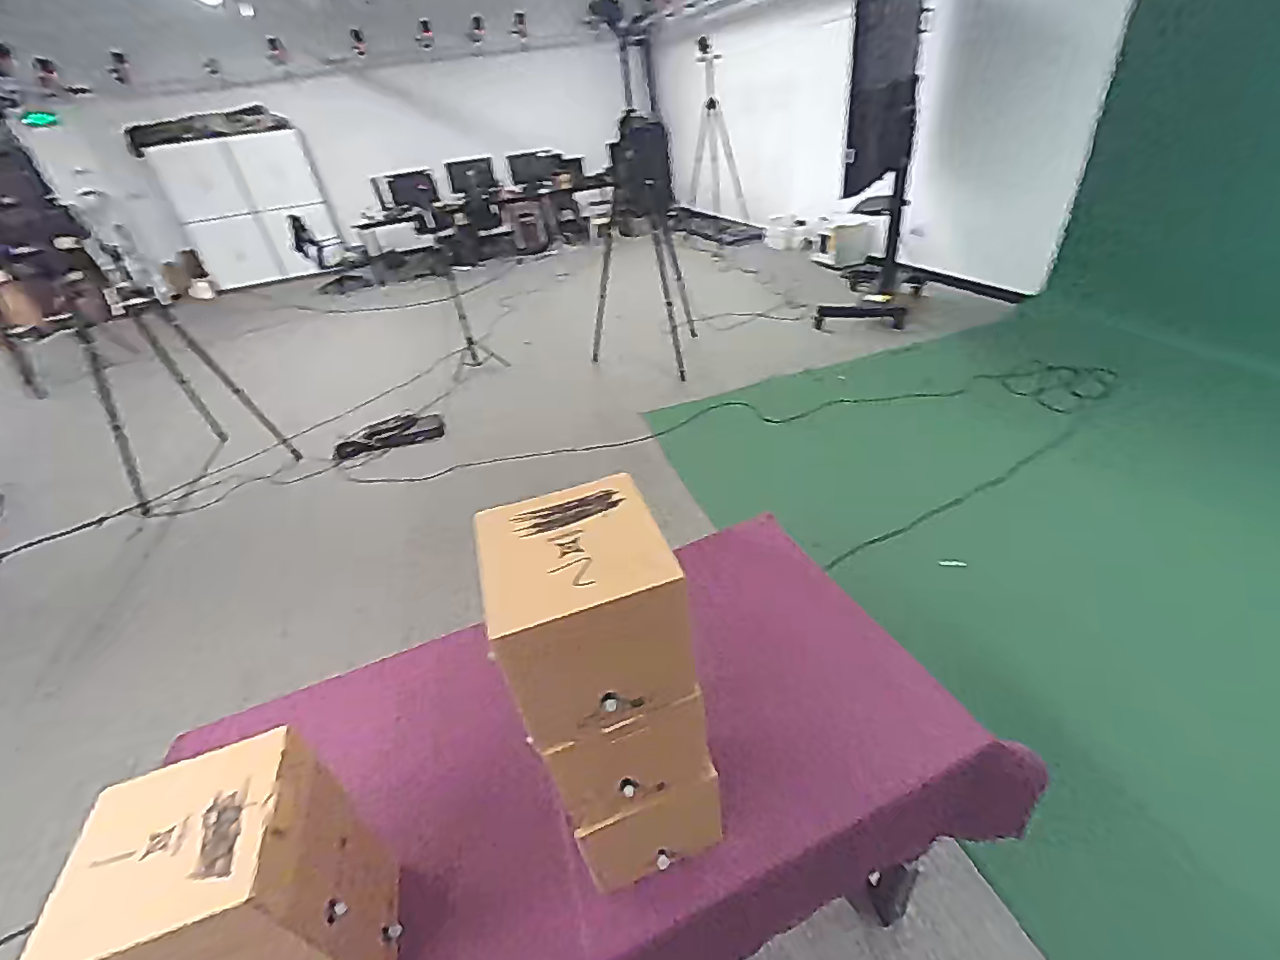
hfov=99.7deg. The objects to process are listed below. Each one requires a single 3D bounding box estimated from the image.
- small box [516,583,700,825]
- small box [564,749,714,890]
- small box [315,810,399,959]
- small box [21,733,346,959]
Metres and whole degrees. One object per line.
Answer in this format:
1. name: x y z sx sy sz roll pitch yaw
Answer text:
1. small box: -0.038 0.261 0.643 0.168 0.176 0.179 -17 36 -12
2. small box: -0.013 0.399 0.726 0.179 0.176 0.168 -17 35 -13
3. small box: -0.399 0.530 0.620 0.179 0.176 0.168 -16 36 -12
4. small box: -0.415 0.393 0.530 0.179 0.176 0.168 -17 36 -12
